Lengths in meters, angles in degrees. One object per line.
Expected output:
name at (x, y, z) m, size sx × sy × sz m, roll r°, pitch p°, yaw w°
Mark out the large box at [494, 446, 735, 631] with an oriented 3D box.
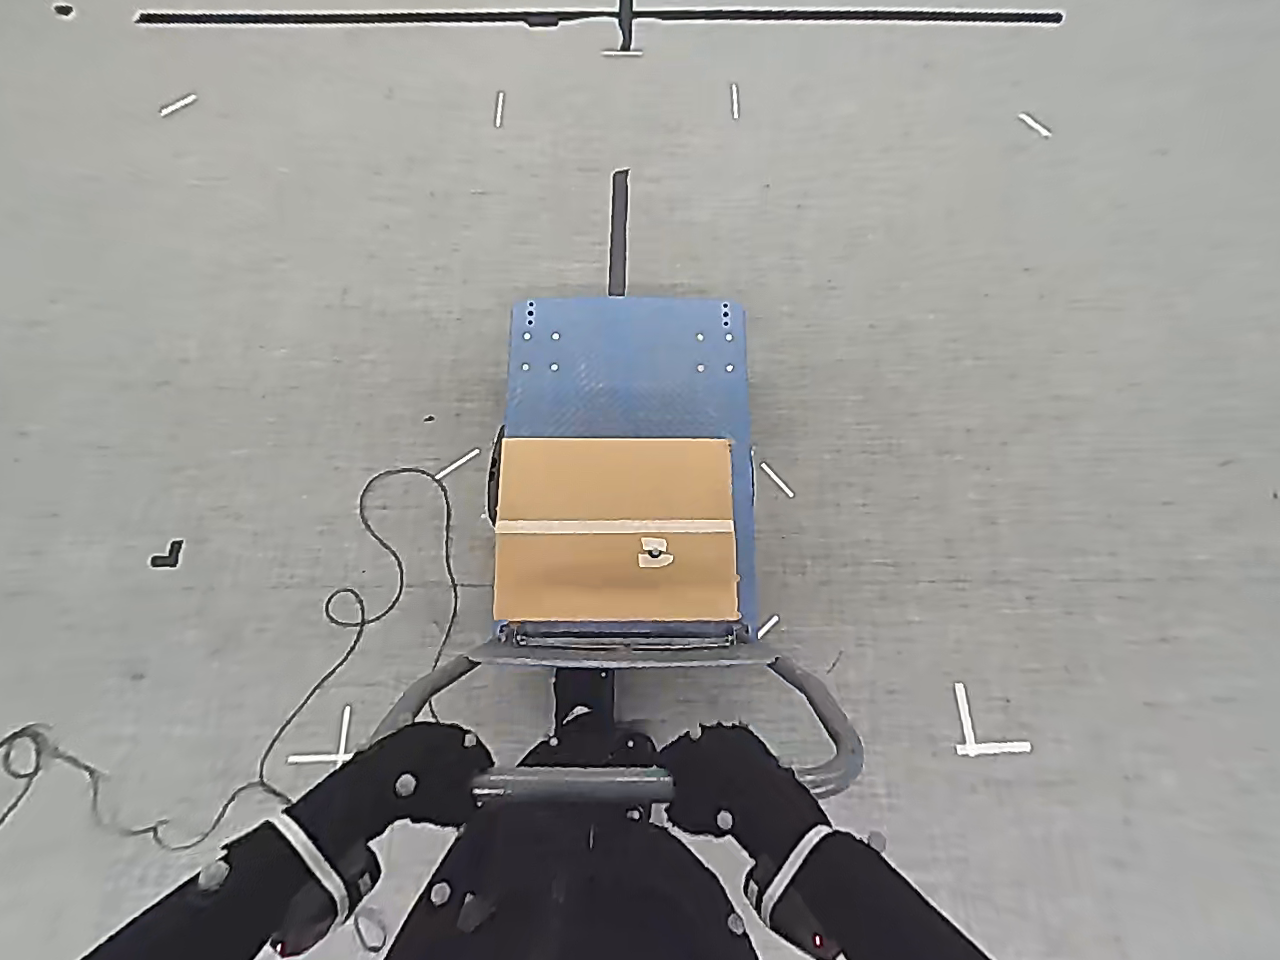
large box at (-0.048, 0.123, 1.060) m, size 0.408 × 0.320 × 0.320 m, roll 0°, pitch 79°, yaw -1°
